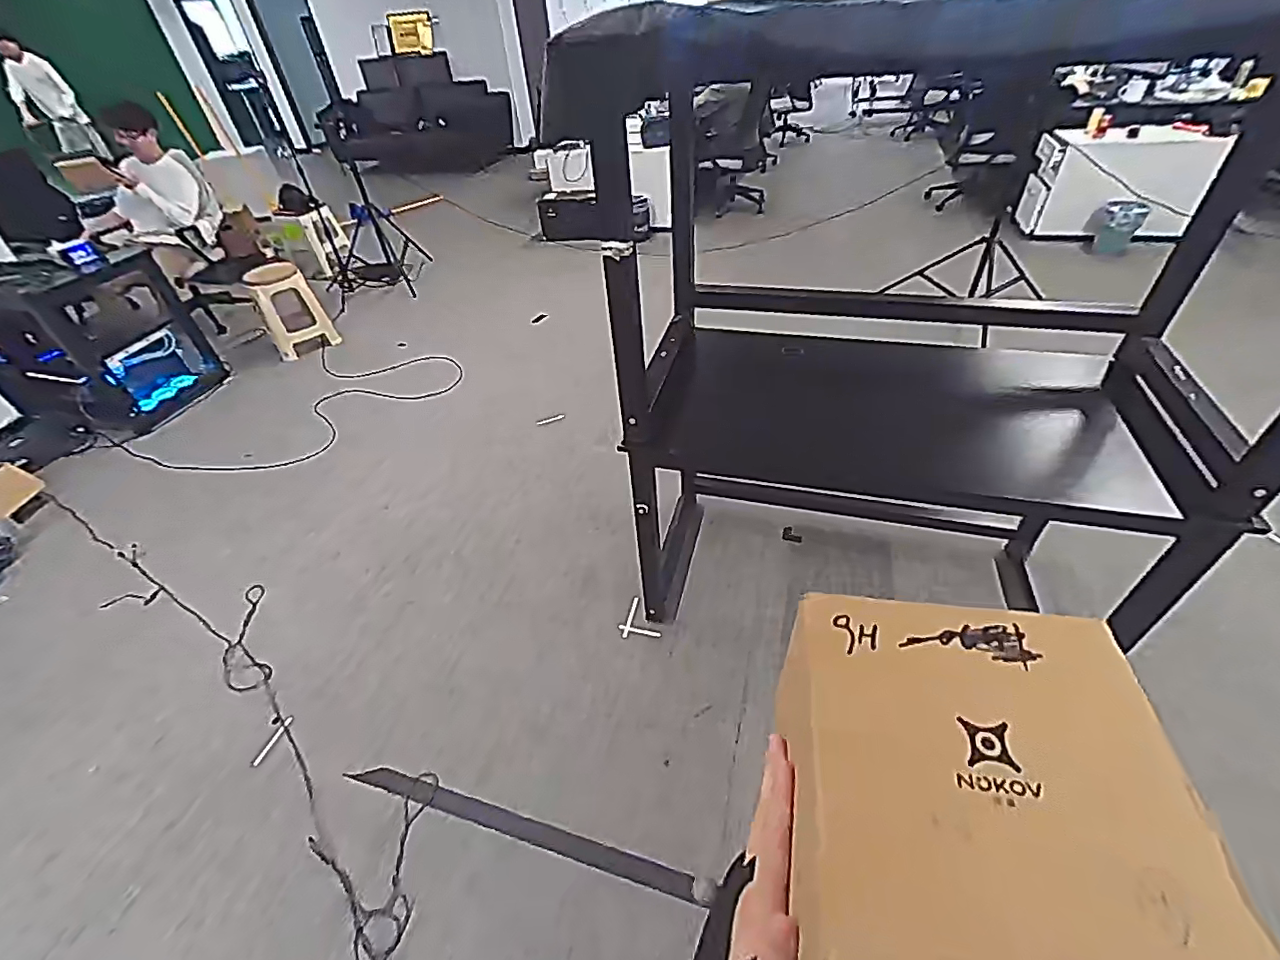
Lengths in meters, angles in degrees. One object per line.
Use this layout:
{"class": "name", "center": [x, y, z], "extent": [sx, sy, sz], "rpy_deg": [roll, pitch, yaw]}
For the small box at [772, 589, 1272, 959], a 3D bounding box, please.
{"class": "small box", "center": [0.168, 0.188, 0.307], "extent": [0.168, 0.176, 0.179], "rpy_deg": [4, 46, 10]}
